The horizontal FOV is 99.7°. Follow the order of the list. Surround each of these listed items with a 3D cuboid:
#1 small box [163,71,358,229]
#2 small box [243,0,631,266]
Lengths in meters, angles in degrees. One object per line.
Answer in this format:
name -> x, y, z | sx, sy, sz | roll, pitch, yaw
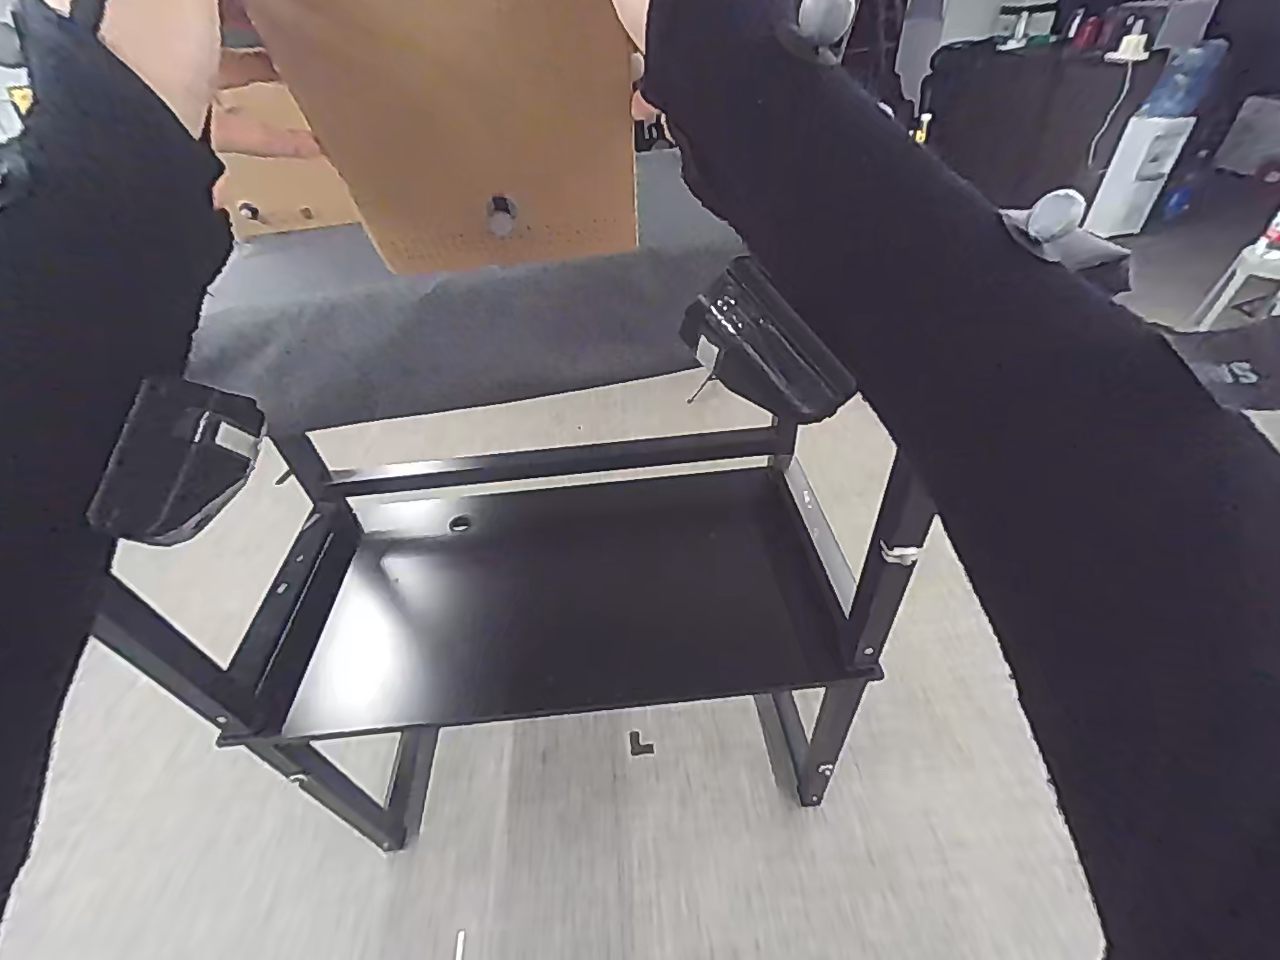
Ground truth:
small box -> -0.489, -0.462, 0.756 | 0.168, 0.176, 0.179 | -8, 41, -4
small box -> -0.098, -0.259, 0.337 | 0.179, 0.176, 0.168 | -6, 62, -2
